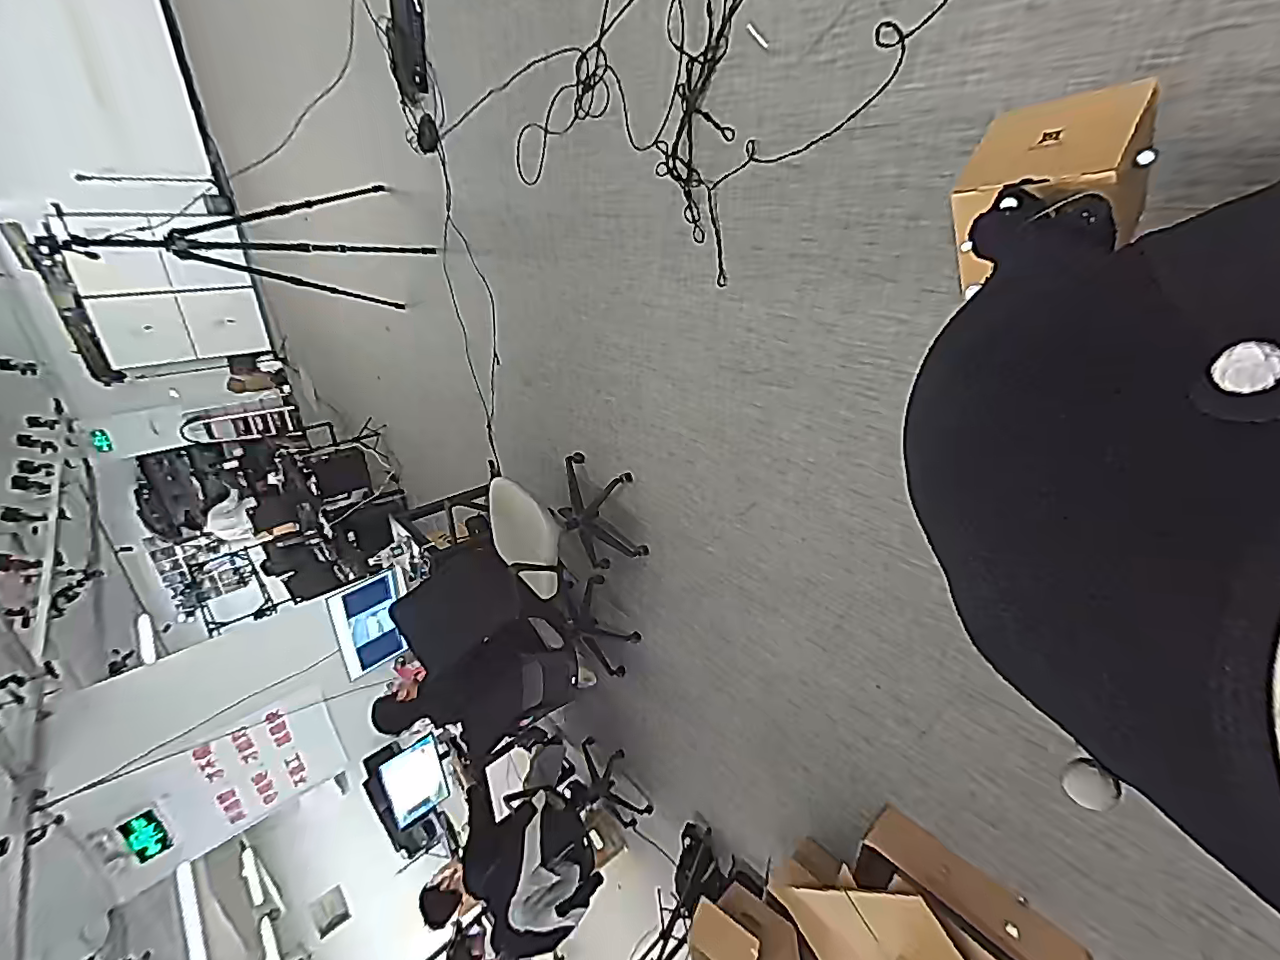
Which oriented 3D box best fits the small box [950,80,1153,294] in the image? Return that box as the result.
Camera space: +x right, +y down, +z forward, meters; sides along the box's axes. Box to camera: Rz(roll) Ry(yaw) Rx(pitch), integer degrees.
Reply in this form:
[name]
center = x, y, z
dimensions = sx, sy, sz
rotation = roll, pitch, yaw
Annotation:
[small box]
center = 0.536, -0.370, 0.714
dimensions = 0.168, 0.179, 0.176
rotation = 17, 157, 45
